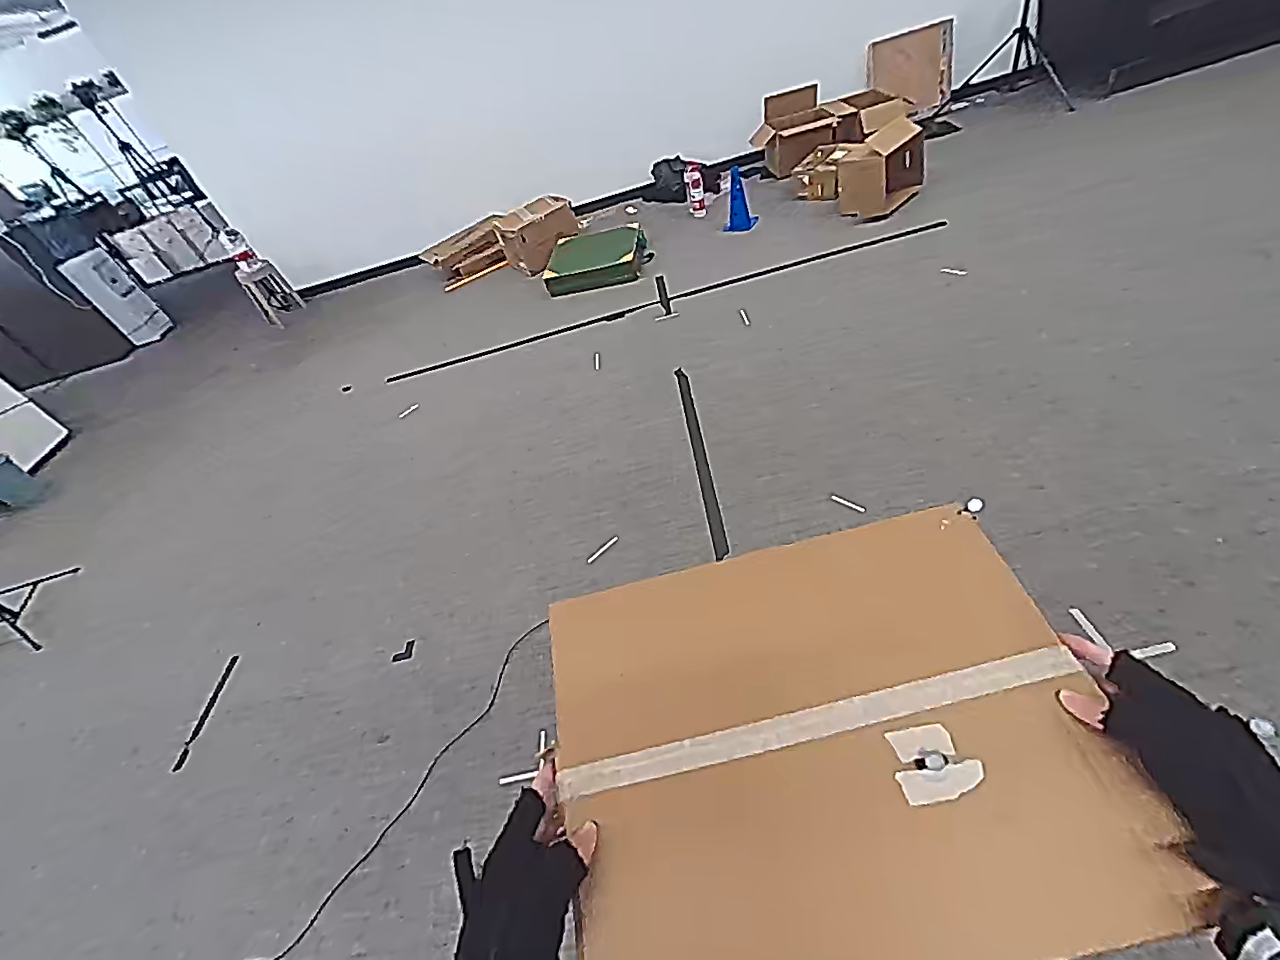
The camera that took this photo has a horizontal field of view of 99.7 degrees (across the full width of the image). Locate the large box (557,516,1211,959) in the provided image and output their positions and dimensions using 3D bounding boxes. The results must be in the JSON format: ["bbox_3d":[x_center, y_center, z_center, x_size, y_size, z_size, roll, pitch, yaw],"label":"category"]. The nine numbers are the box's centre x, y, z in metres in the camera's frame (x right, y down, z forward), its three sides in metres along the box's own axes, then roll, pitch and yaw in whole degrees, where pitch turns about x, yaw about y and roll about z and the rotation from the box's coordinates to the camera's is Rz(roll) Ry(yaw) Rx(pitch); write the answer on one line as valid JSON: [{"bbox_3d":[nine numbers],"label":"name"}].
[{"bbox_3d":[0.162,0.291,0.545,0.408,0.320,0.320,-14,51,1],"label":"large box"}]
